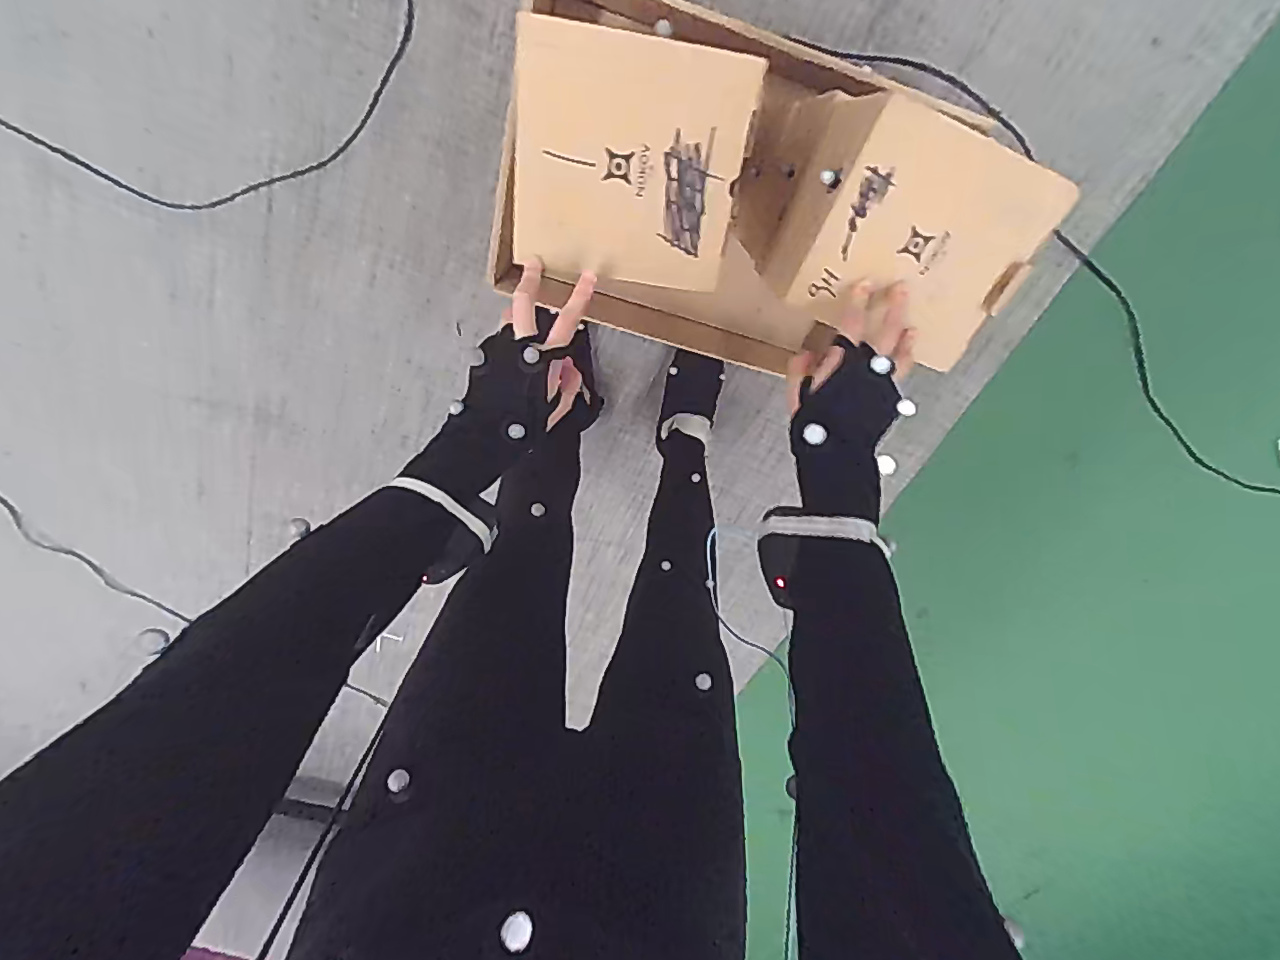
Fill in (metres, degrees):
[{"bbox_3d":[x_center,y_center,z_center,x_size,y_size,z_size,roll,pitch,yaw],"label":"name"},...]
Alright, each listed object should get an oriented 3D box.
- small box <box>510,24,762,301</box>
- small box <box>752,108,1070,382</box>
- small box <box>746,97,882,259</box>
[{"bbox_3d":[-0.011,-0.276,0.482,0.179,0.176,0.168,7,123,-5],"label":"small box"},{"bbox_3d":[0.229,-0.223,0.512,0.179,0.176,0.168,19,120,-11],"label":"small box"},{"bbox_3d":[0.239,-0.320,0.644,0.168,0.176,0.179,17,121,-8],"label":"small box"}]
